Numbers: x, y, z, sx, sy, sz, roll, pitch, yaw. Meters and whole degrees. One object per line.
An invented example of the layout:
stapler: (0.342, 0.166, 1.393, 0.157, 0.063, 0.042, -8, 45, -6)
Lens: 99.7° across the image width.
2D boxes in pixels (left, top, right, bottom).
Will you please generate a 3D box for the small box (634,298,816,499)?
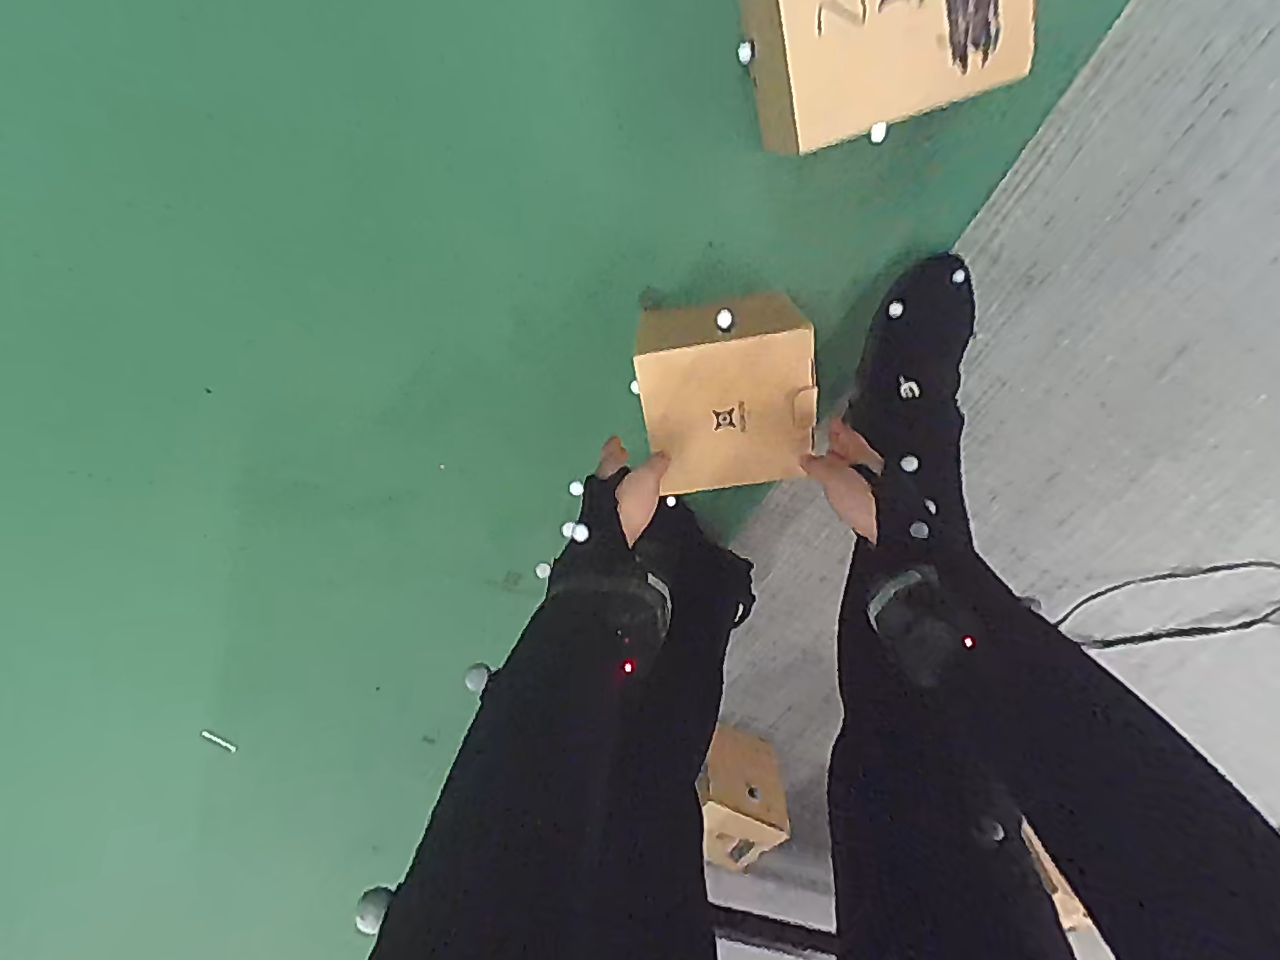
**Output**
small box: (0.094, -0.099, 0.622, 0.179, 0.176, 0.168, -9, 120, 5)

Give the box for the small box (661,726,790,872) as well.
small box: (0.155, 0.606, 1.038, 0.179, 0.176, 0.168, 28, 117, -14)

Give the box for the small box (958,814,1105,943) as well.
small box: (0.844, 0.870, 1.187, 0.179, 0.176, 0.168, 33, 115, -19)
